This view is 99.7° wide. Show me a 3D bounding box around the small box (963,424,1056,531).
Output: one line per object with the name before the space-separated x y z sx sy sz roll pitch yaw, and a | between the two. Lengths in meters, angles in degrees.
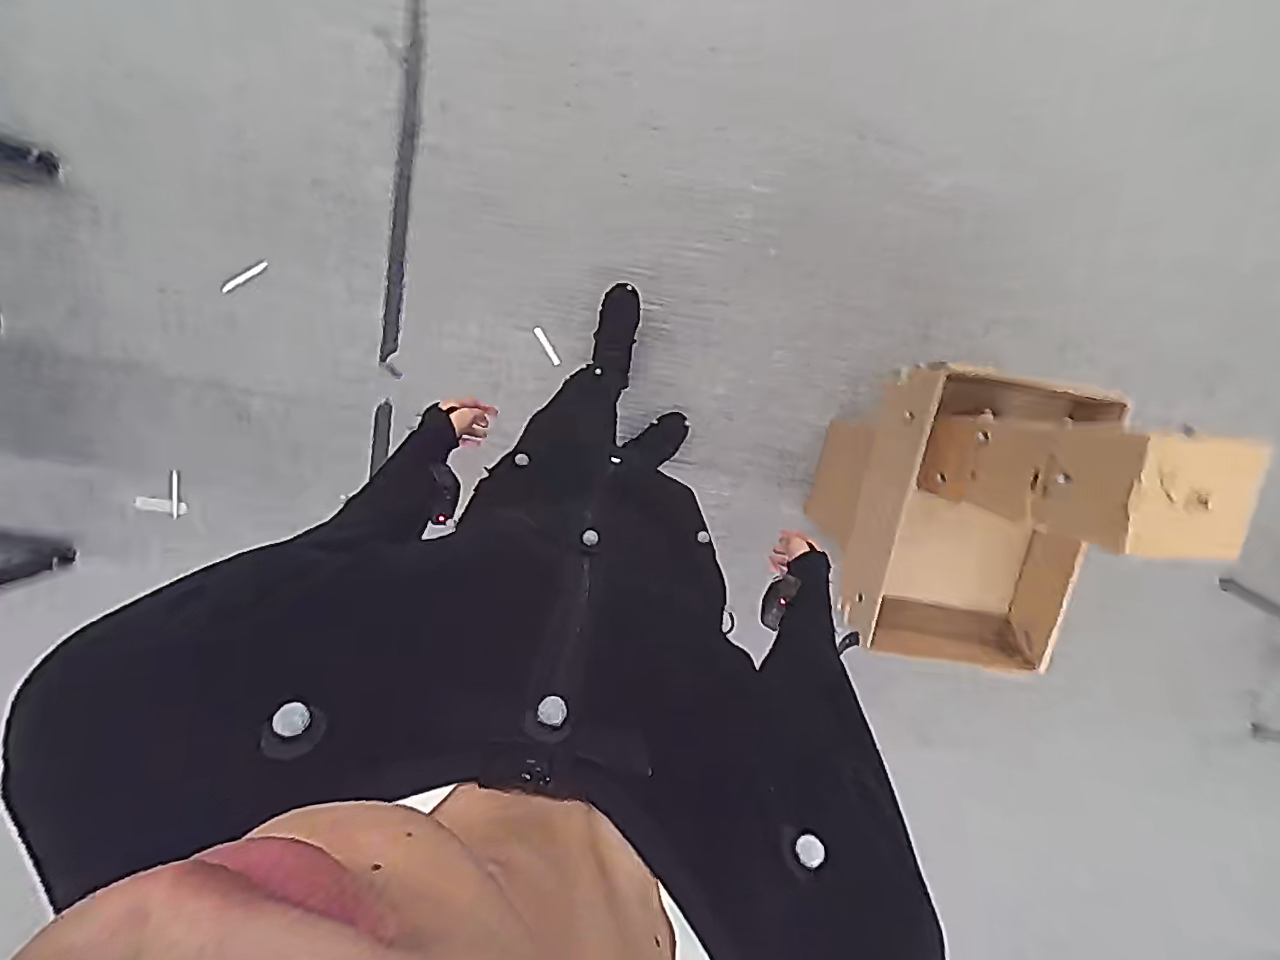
small box | 0.719 -0.004 0.963 0.179 0.176 0.168 6 101 -4

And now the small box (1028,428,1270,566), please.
small box | 0.732 0.017 0.799 0.179 0.176 0.168 4 101 -3

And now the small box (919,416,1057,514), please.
small box | 0.709 -0.034 1.123 0.168 0.176 0.179 4 101 -3
